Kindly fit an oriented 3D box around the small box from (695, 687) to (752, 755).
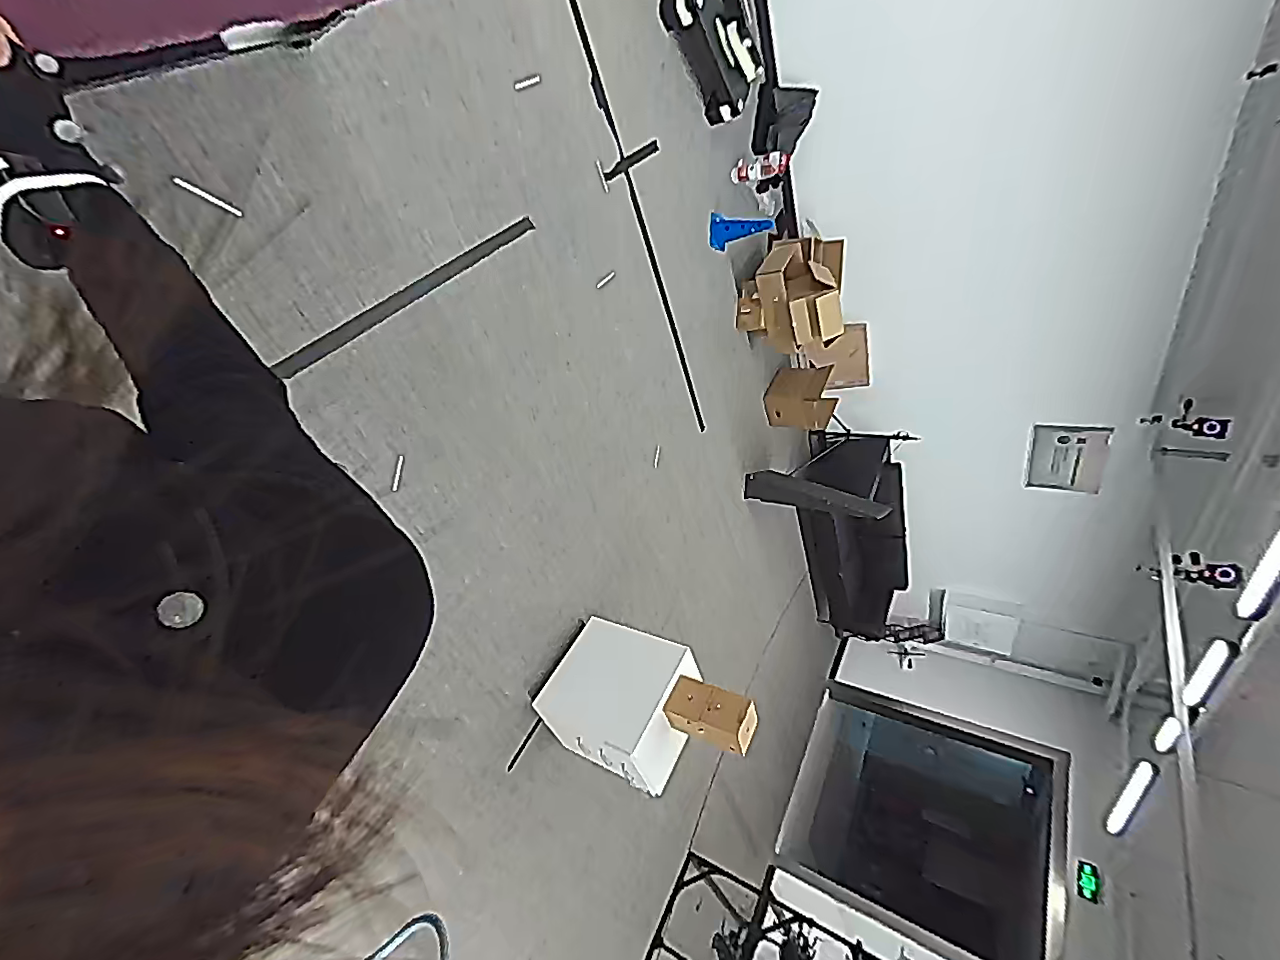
[{"bbox_3d":[0.345,0.985,2.226,0.168,0.176,0.179,-52,137,-39],"label":"small box"}]
